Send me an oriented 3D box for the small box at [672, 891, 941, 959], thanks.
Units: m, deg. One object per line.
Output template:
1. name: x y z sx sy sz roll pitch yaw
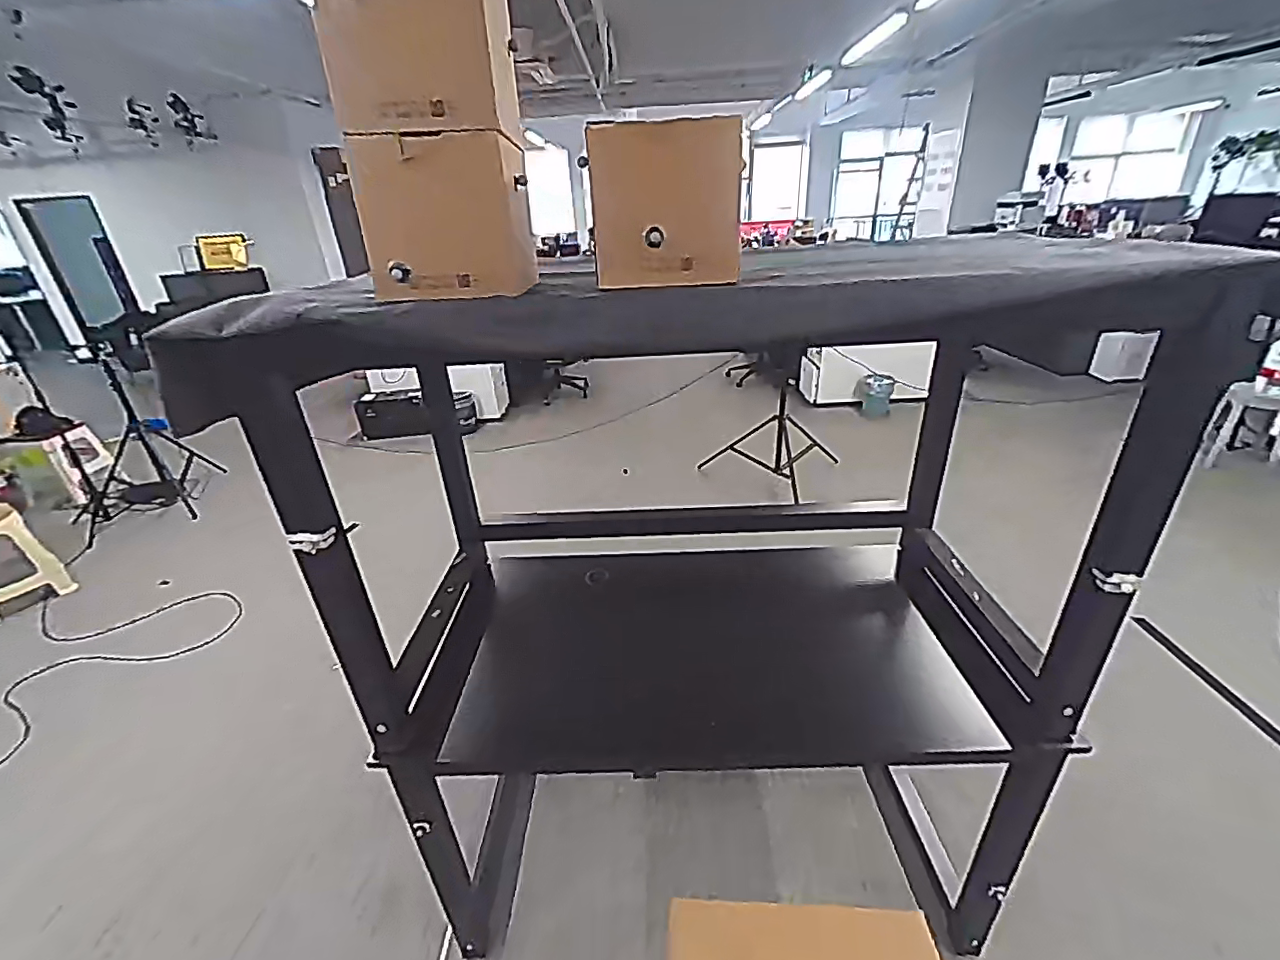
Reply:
1. small box: 0.099 0.389 0.321 0.168 0.176 0.179 1 30 3

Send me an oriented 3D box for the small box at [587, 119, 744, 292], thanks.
1. small box: 0.030 -0.328 0.667 0.168 0.176 0.179 -3 25 2

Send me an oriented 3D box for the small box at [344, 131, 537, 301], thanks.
1. small box: -0.226 -0.316 0.669 0.168 0.176 0.179 -2 24 -1
